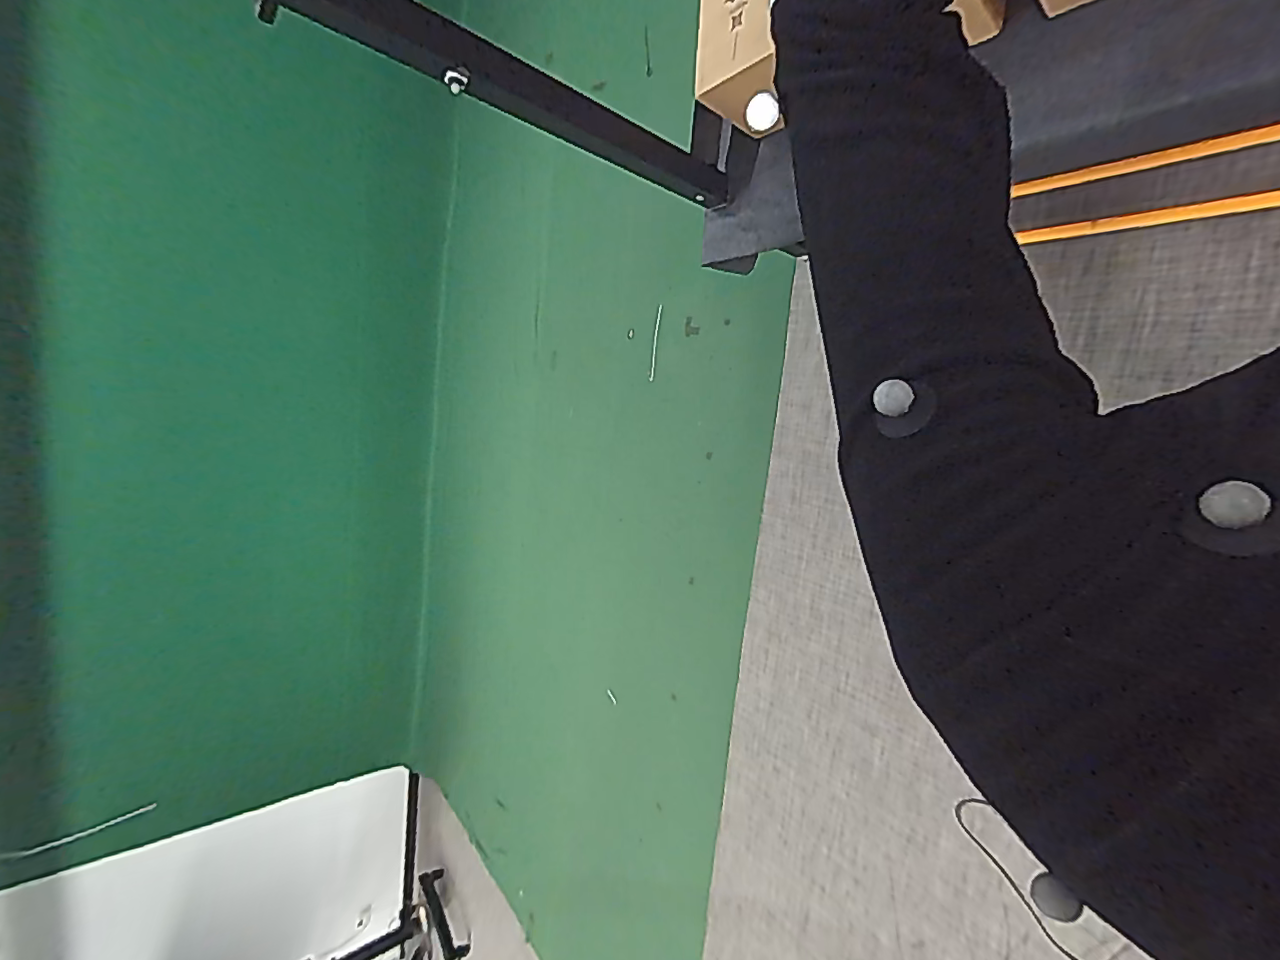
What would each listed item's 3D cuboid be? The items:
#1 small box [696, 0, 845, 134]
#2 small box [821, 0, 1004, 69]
[{"bbox_3d":[0.212,-0.701,0.862,0.168,0.176,0.179,10,97,49],"label":"small box"},{"bbox_3d":[0.360,-0.673,0.692,0.168,0.176,0.179,13,99,48],"label":"small box"}]
